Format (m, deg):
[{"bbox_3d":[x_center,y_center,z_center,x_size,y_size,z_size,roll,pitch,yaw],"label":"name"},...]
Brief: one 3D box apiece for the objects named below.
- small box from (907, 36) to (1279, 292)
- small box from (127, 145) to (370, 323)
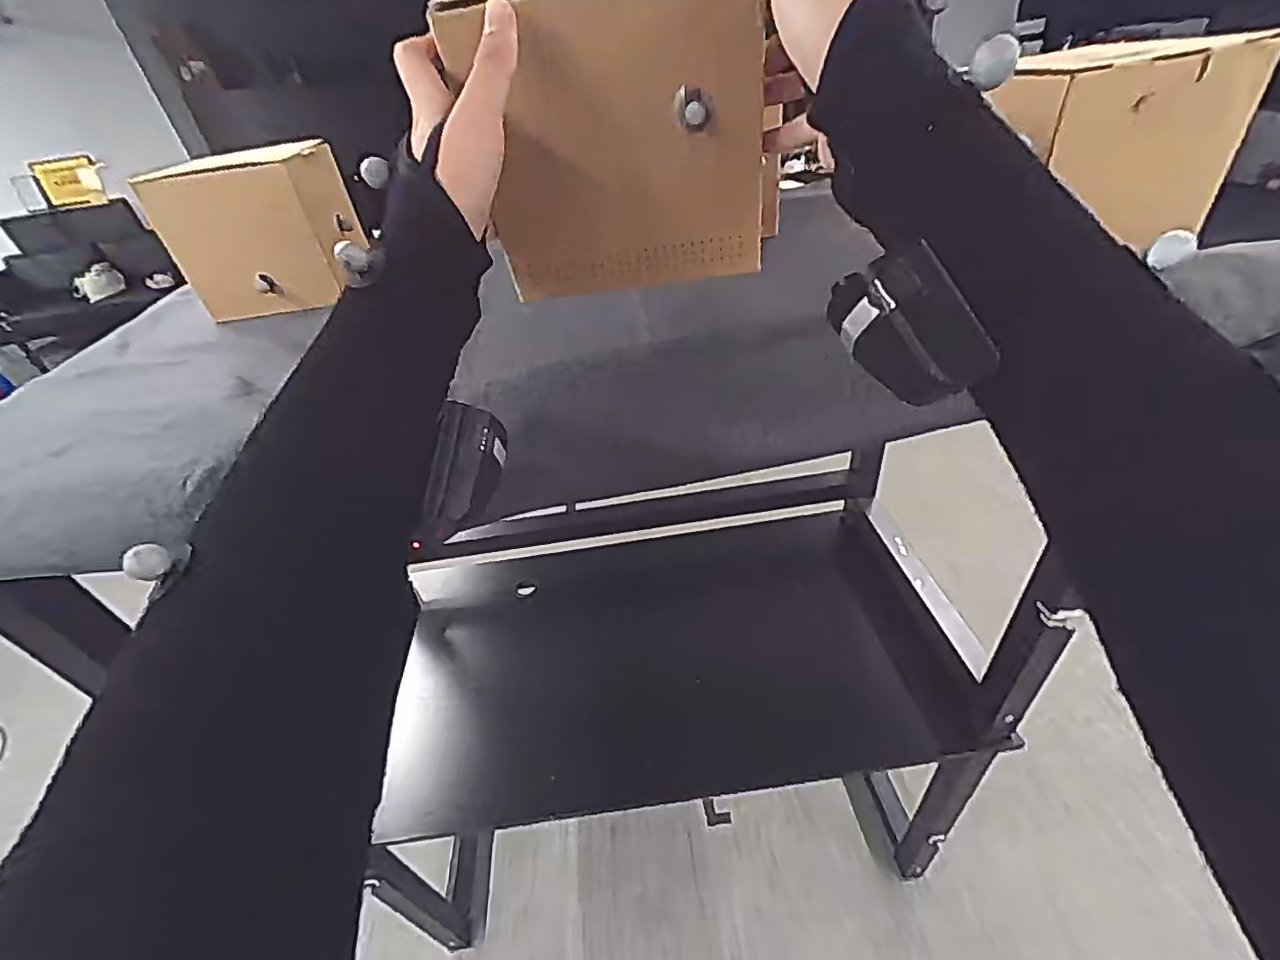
[{"bbox_3d":[0.377,-0.284,0.498,0.168,0.176,0.179,-11,37,-3],"label":"small box"},{"bbox_3d":[-0.487,-0.325,0.713,0.179,0.176,0.168,-9,38,-3],"label":"small box"}]
